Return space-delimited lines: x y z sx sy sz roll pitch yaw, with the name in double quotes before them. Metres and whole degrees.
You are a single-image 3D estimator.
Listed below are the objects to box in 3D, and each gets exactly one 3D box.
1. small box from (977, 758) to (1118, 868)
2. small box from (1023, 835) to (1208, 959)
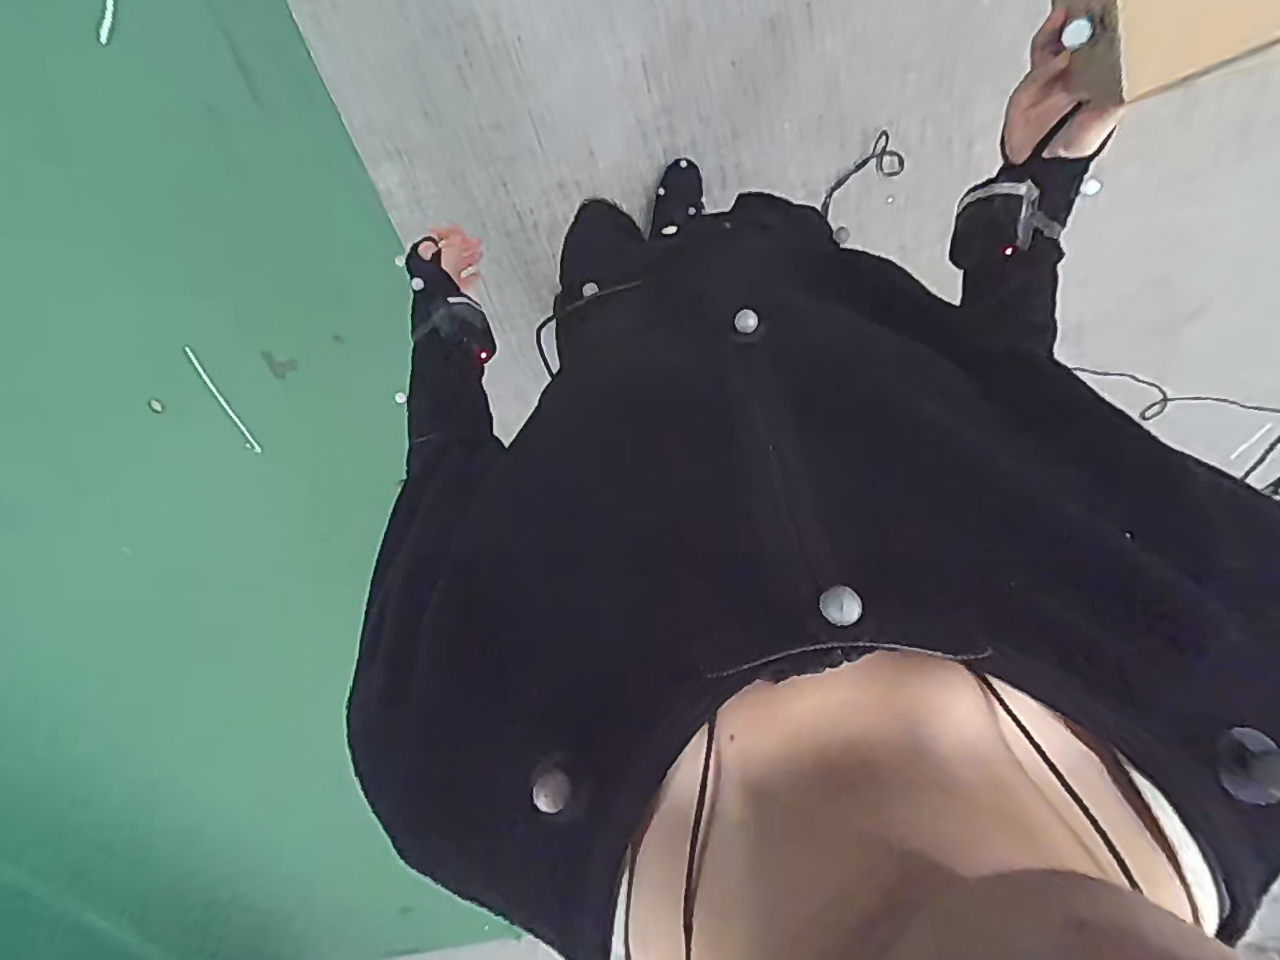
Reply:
"small box" 0.893 0.749 1.188 0.179 0.176 0.168 -36 116 17
"small box" 0.899 0.819 1.038 0.168 0.176 0.179 34 114 -20
